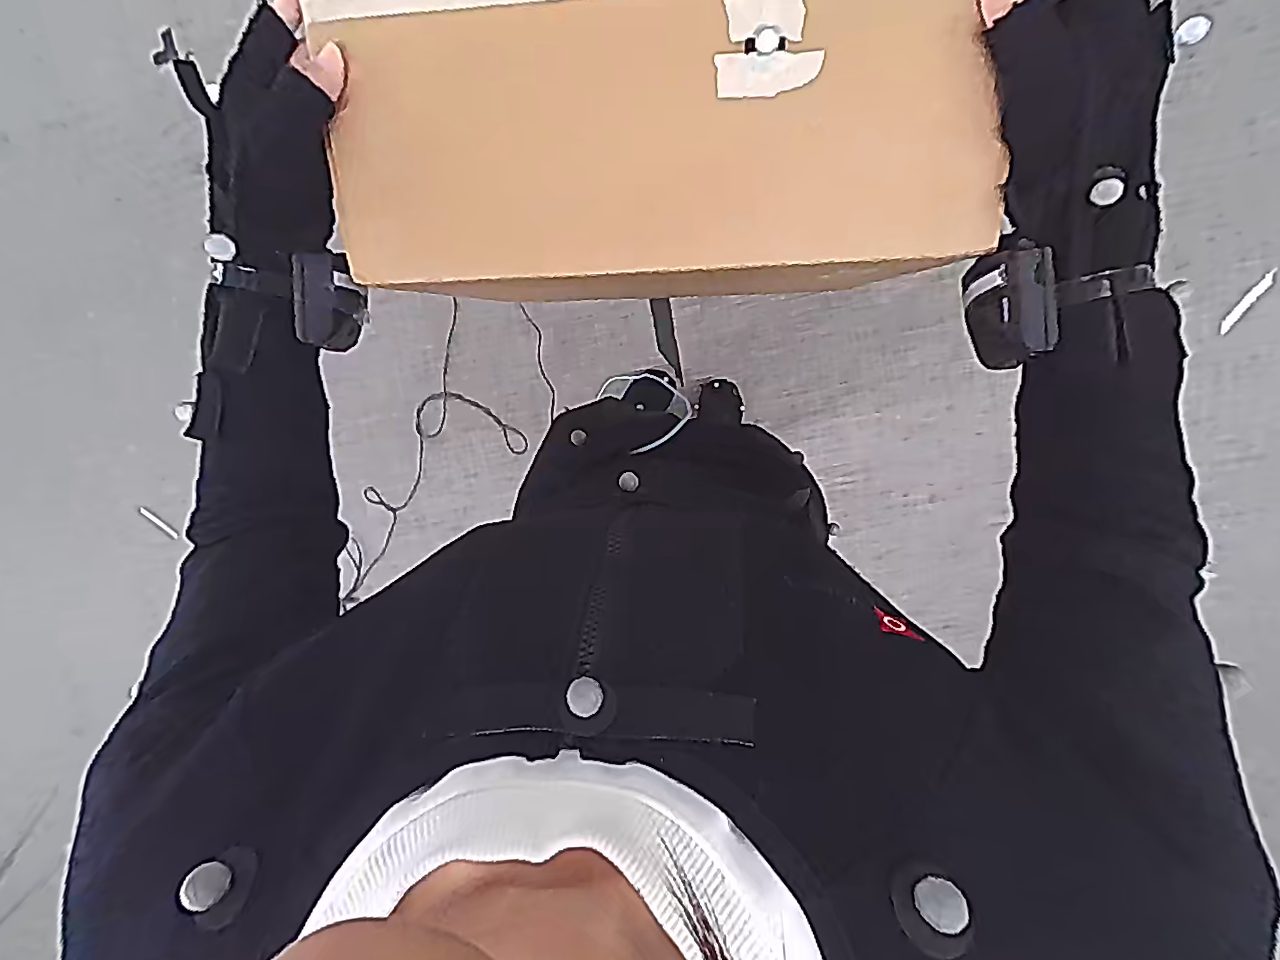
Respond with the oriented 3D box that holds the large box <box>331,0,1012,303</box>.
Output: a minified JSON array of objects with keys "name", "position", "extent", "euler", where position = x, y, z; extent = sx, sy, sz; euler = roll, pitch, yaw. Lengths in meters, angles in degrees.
[{"name":"large box","position":[0.019,-0.330,0.454],"extent":[0.408,0.320,0.320],"euler":[-2,106,5]}]
